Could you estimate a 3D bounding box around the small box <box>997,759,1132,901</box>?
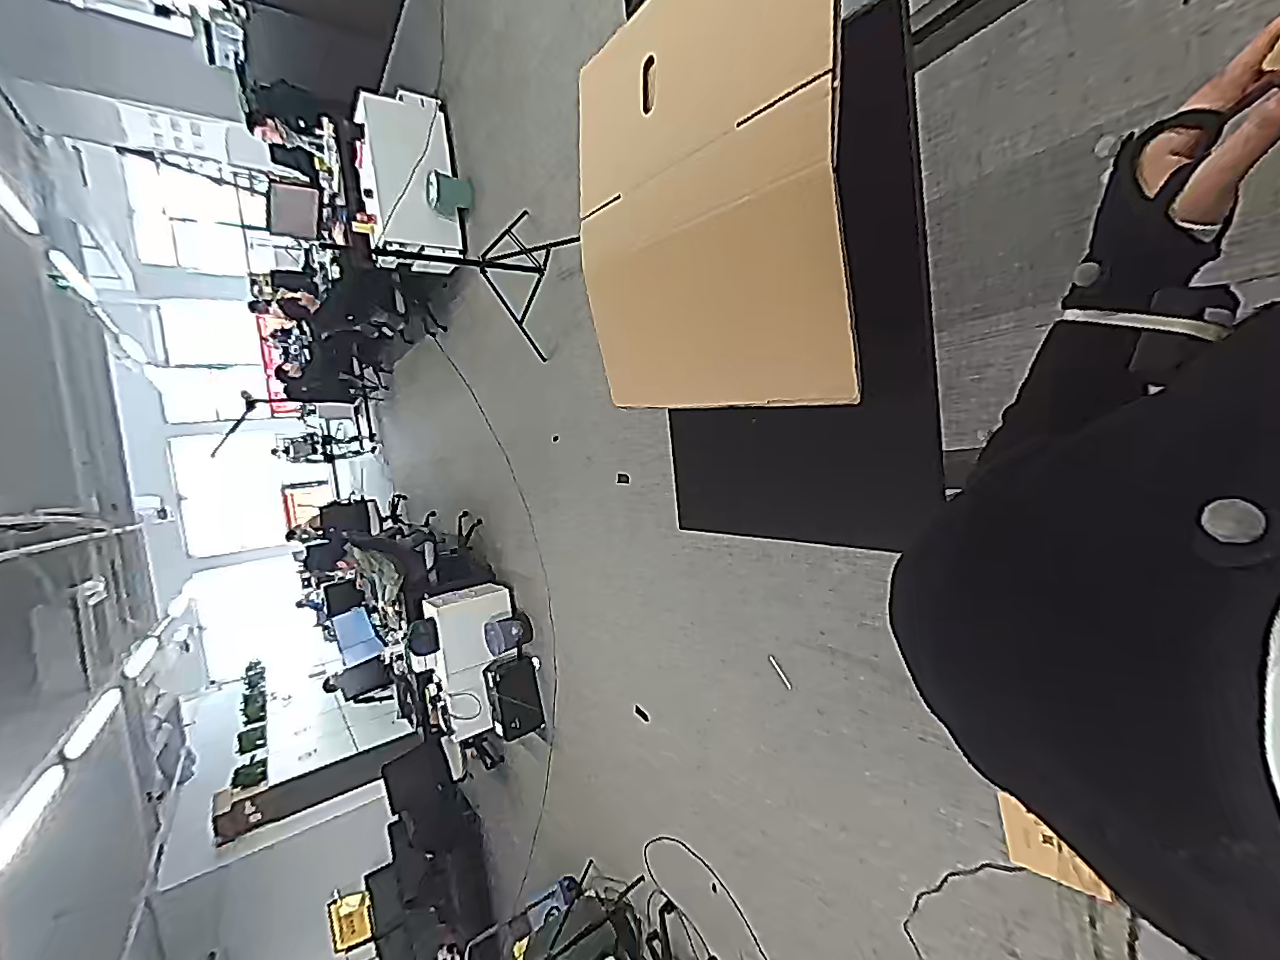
[{"bbox_3d":[0.895,0.718,1.136,0.179,0.176,0.168,-13,86,56],"label":"small box"}]
